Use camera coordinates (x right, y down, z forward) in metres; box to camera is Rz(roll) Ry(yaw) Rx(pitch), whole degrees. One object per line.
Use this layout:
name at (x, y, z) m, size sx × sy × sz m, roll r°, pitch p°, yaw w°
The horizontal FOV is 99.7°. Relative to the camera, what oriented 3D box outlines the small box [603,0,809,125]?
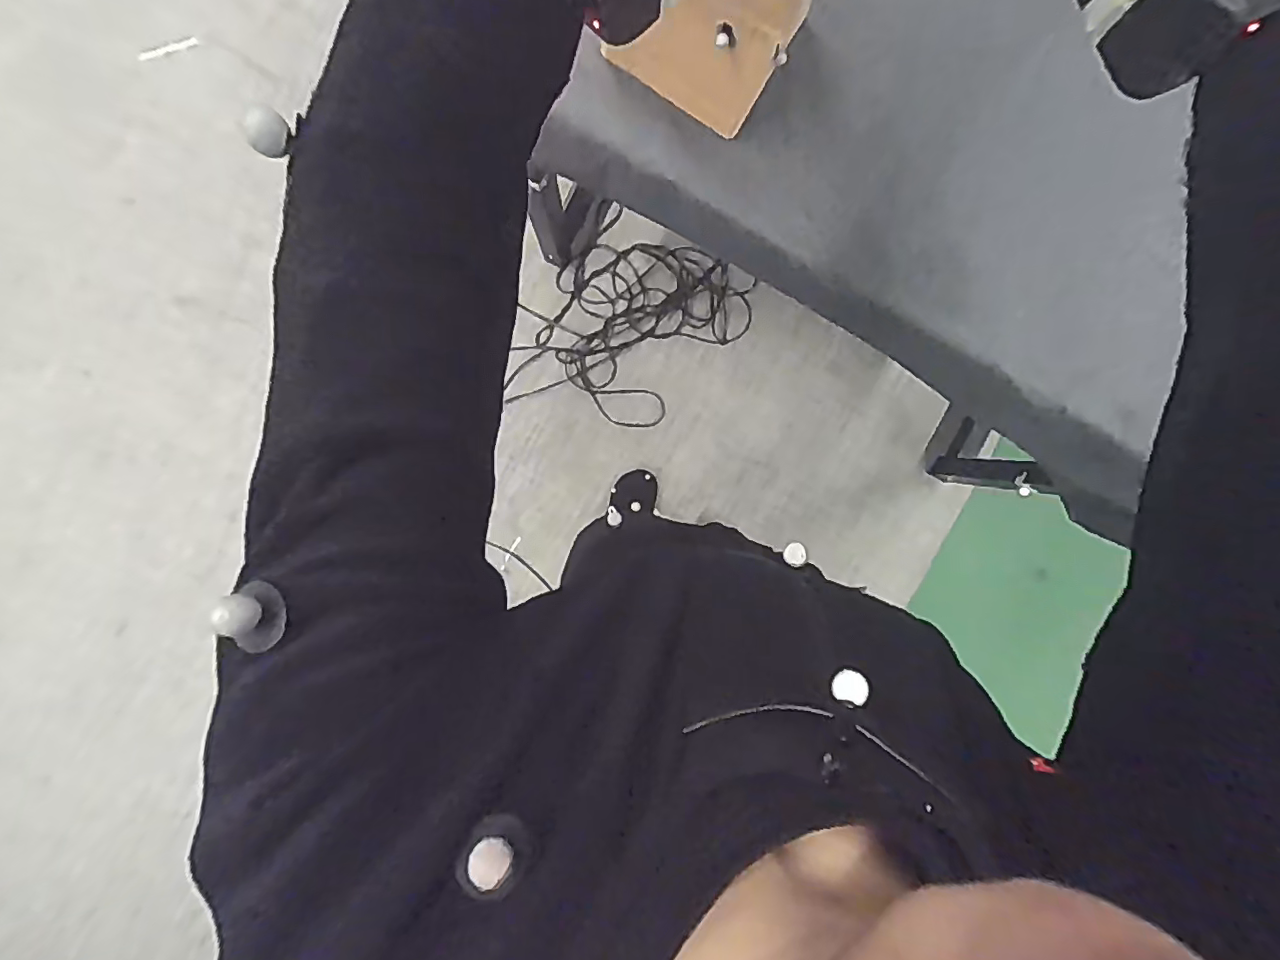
small box at (0.073, -0.495, 0.522) m, size 0.179 × 0.176 × 0.168 m, roll 30°, pitch 91°, yaw -6°
